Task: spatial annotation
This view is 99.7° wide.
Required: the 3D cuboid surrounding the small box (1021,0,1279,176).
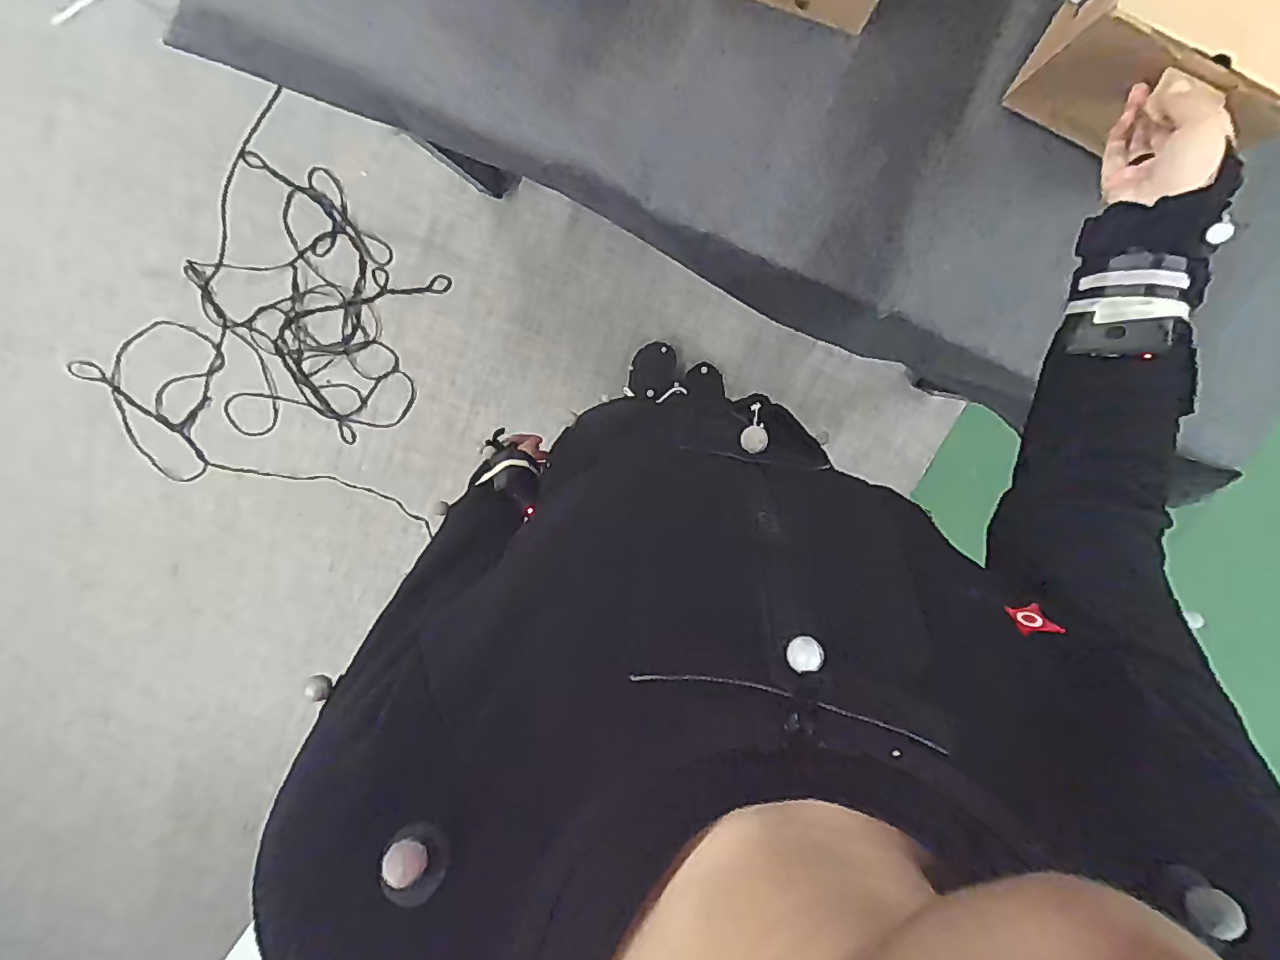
[{"bbox_3d":[0.441,-0.370,0.415,0.168,0.176,0.179,29,108,1],"label":"small box"}]
